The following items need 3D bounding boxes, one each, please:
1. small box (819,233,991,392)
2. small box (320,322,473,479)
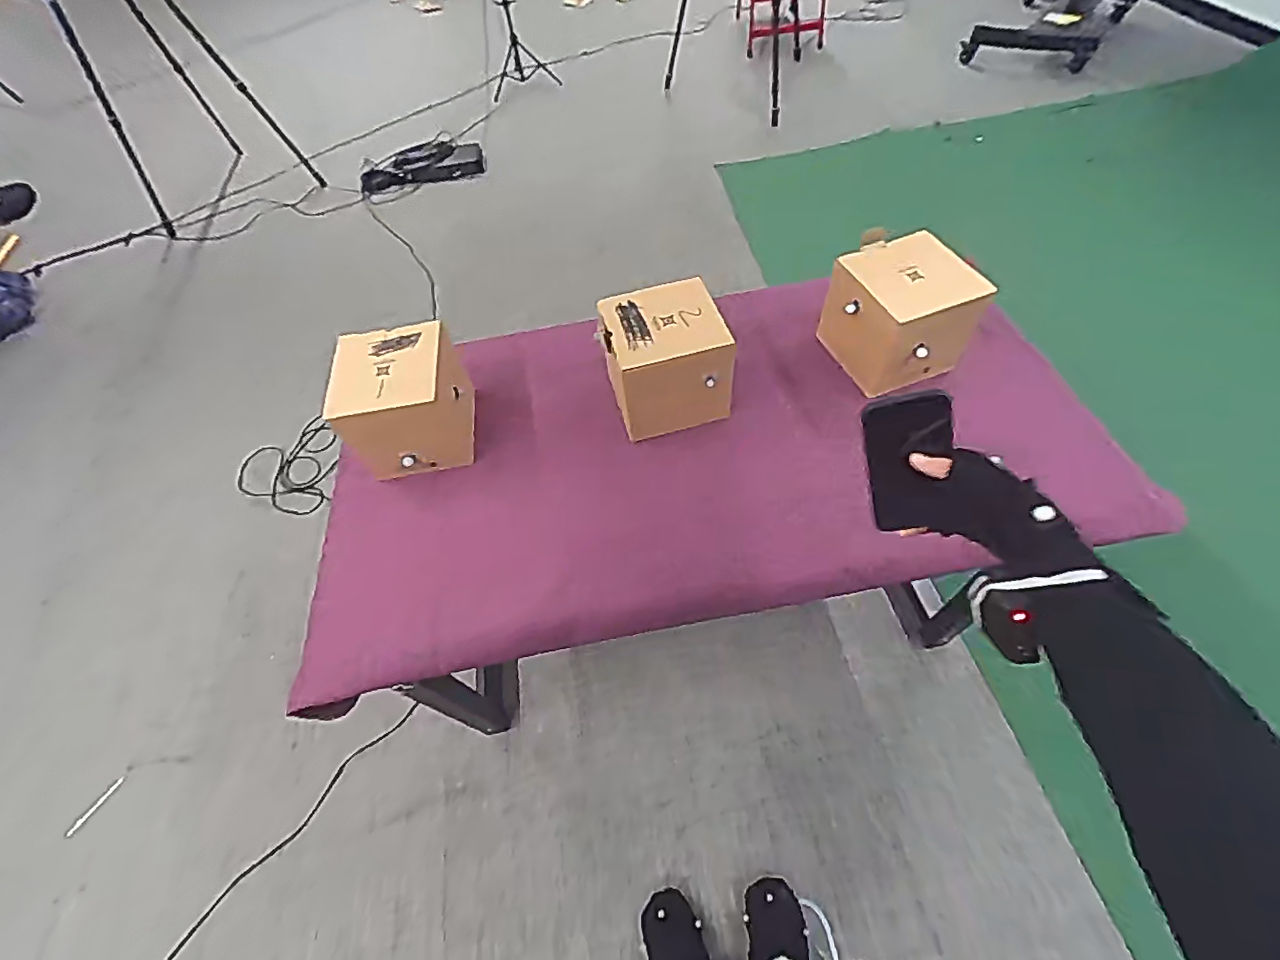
[{"bbox_3d":[0.422,-0.267,0.895,0.168,0.176,0.179,-20,56,-7],"label":"small box"},{"bbox_3d":[-0.380,-0.126,0.878,0.168,0.176,0.179,-10,58,-1],"label":"small box"}]
